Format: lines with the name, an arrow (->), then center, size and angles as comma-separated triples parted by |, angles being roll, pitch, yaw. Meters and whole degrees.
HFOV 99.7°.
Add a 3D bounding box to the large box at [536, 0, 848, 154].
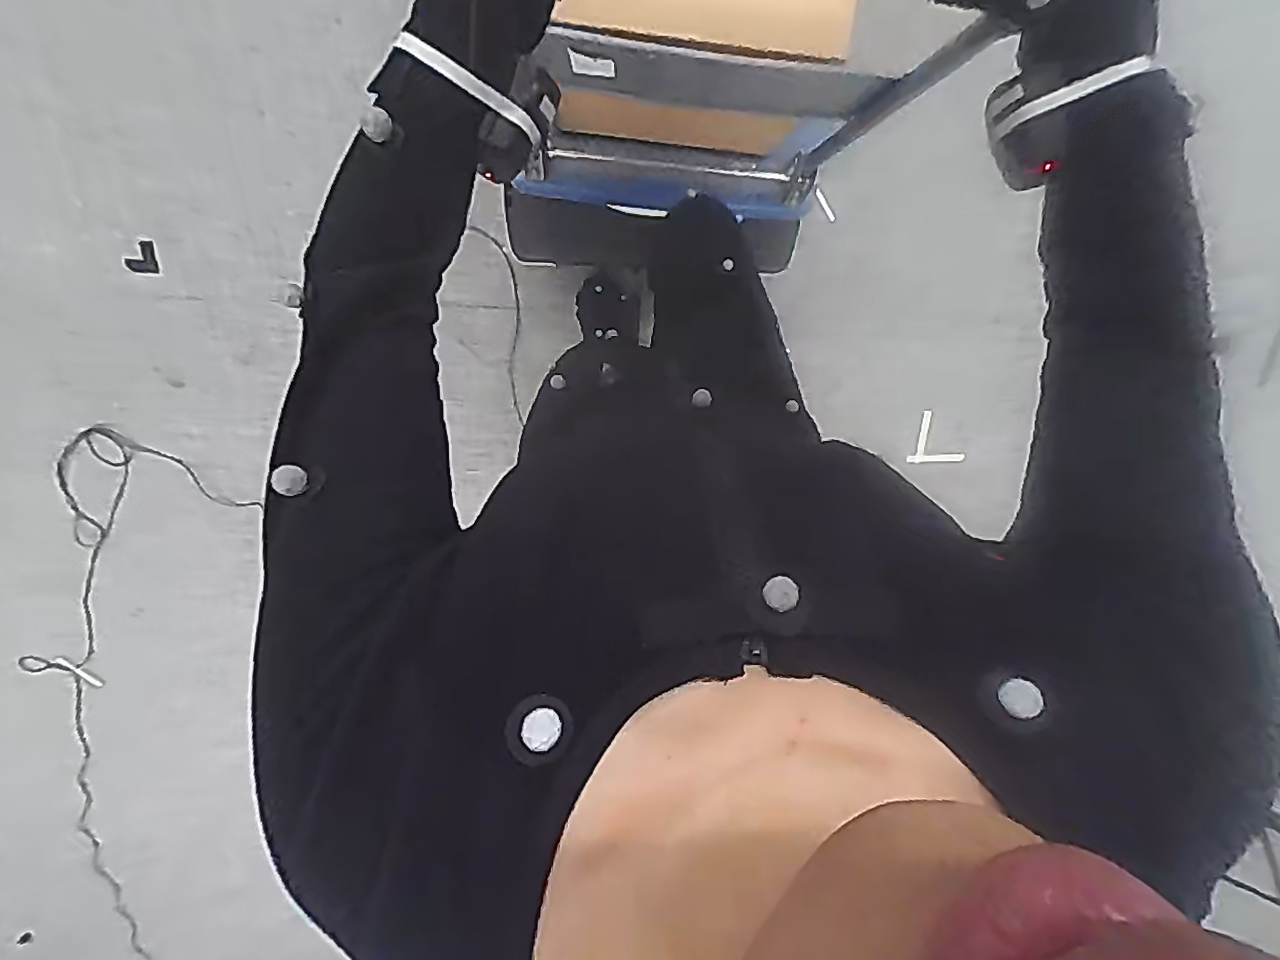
large box -> 0.057, -0.726, 0.802 | 0.408, 0.320, 0.320 | 2, 101, -7
